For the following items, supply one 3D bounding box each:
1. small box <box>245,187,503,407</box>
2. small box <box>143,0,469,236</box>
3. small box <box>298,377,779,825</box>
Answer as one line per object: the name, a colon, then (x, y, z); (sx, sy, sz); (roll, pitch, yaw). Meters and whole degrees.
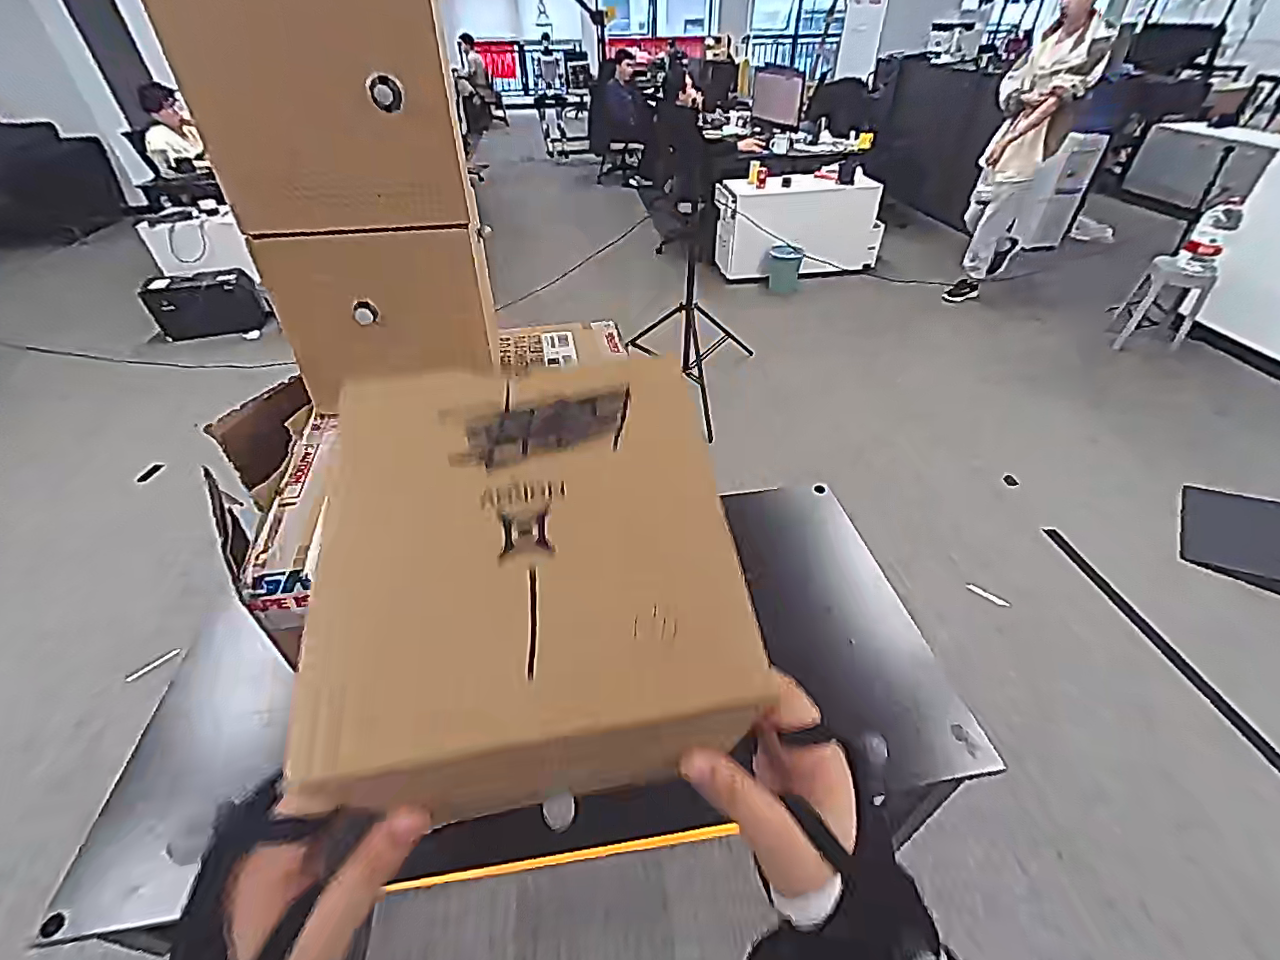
small box: (-0.243, -0.186, 0.549); (0.179, 0.176, 0.168); (-8, 39, -9)
small box: (-0.242, -0.311, 0.443); (0.179, 0.176, 0.168); (-10, 39, -11)
small box: (-0.047, 0.069, 0.295); (0.168, 0.176, 0.179); (-7, 56, -7)
